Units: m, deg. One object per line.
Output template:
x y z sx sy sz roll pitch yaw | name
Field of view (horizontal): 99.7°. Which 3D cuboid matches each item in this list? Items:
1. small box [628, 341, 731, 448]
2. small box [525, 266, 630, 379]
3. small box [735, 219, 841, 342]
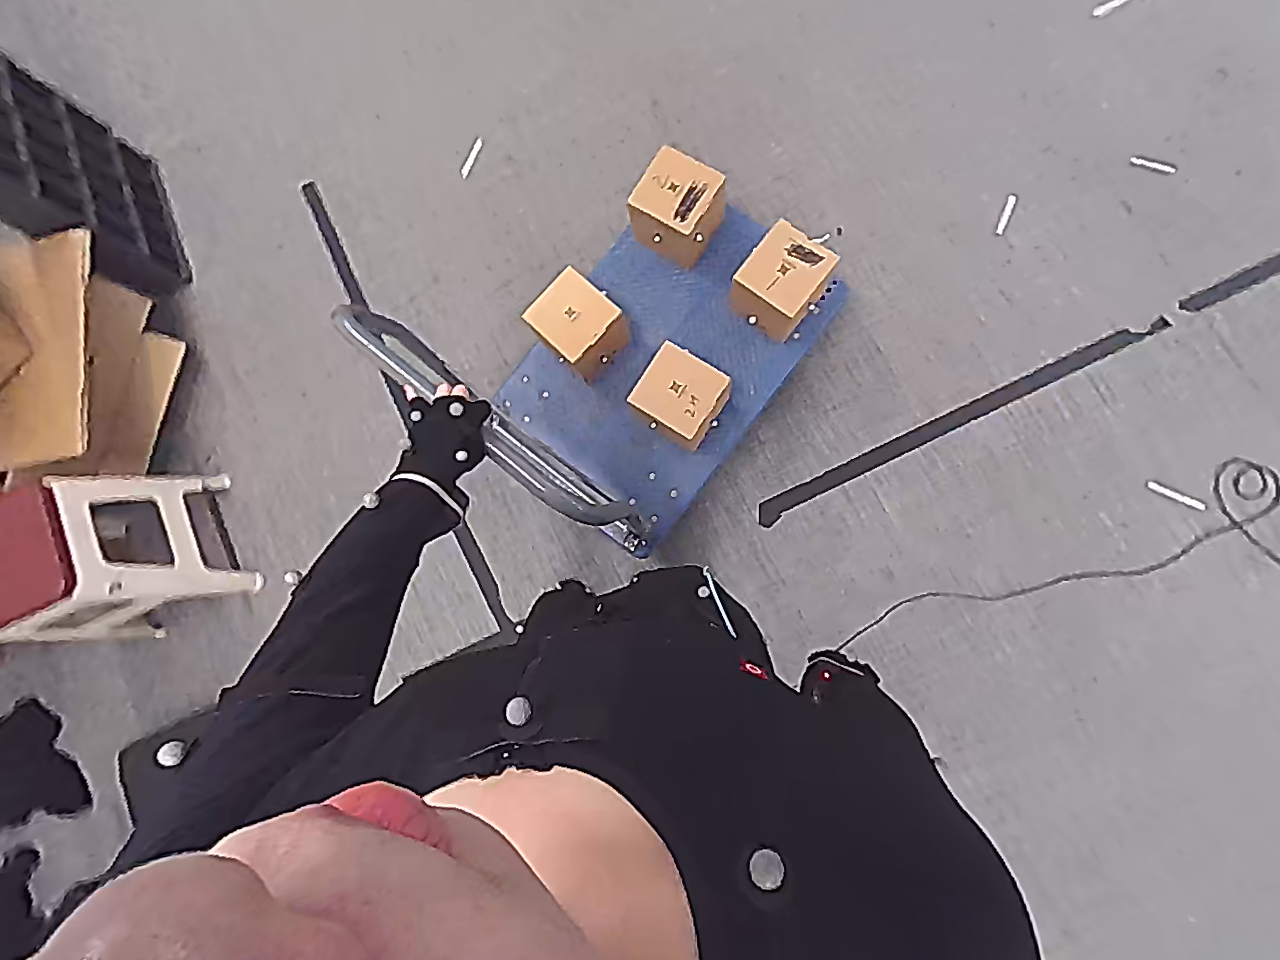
0.095 -0.192 1.274 0.179 0.176 0.168 33 89 9 | small box
-0.145 -0.375 1.323 0.179 0.176 0.168 42 90 8 | small box
0.336 -0.461 1.275 0.168 0.176 0.179 39 91 9 | small box
